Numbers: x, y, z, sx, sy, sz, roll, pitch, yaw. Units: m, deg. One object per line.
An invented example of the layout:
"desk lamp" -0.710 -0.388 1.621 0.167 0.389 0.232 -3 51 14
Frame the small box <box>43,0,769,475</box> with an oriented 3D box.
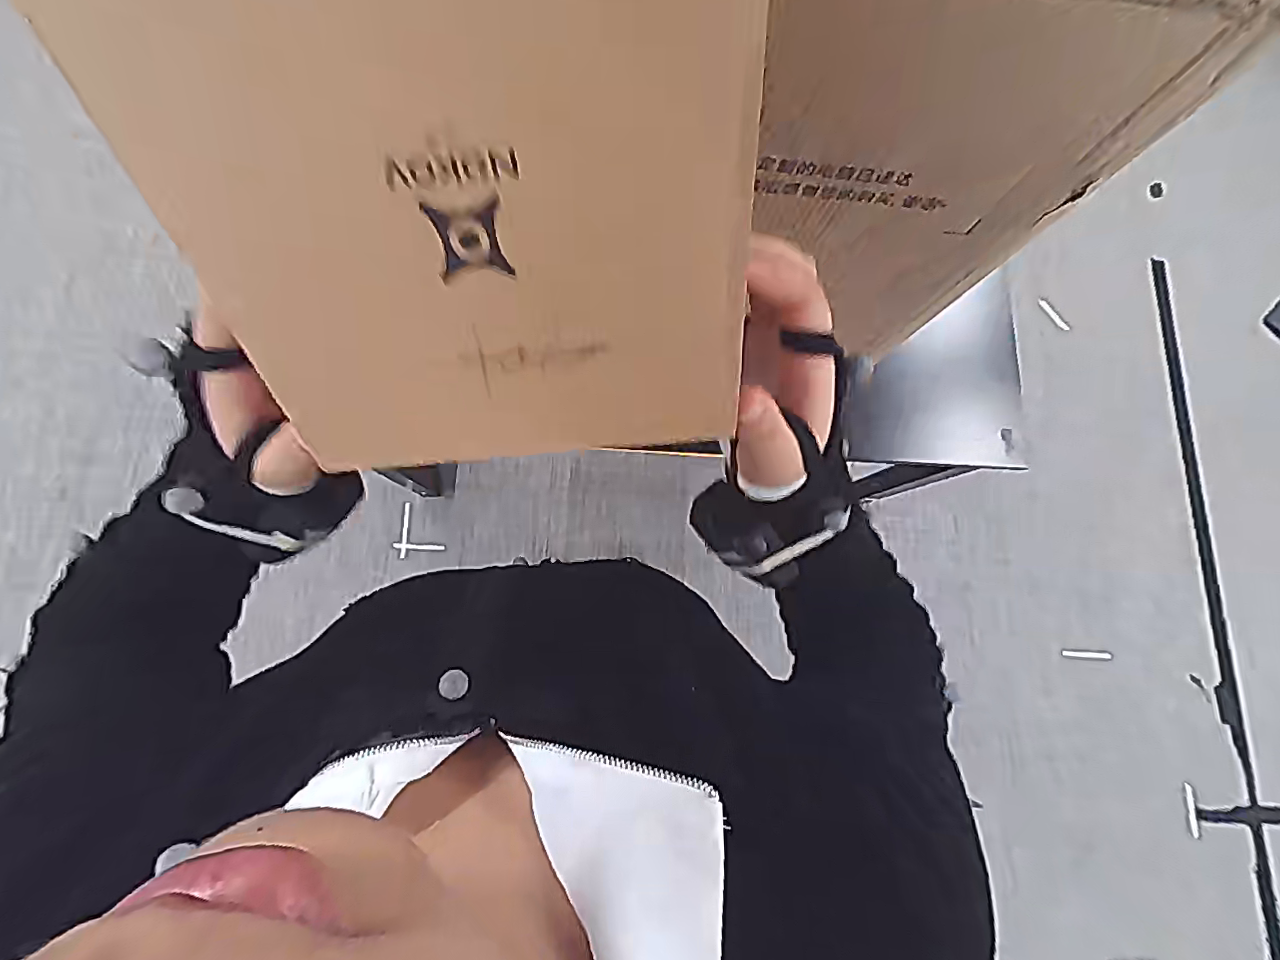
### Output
"small box" -0.051 -0.127 0.218 0.168 0.179 0.176 -5 44 2
